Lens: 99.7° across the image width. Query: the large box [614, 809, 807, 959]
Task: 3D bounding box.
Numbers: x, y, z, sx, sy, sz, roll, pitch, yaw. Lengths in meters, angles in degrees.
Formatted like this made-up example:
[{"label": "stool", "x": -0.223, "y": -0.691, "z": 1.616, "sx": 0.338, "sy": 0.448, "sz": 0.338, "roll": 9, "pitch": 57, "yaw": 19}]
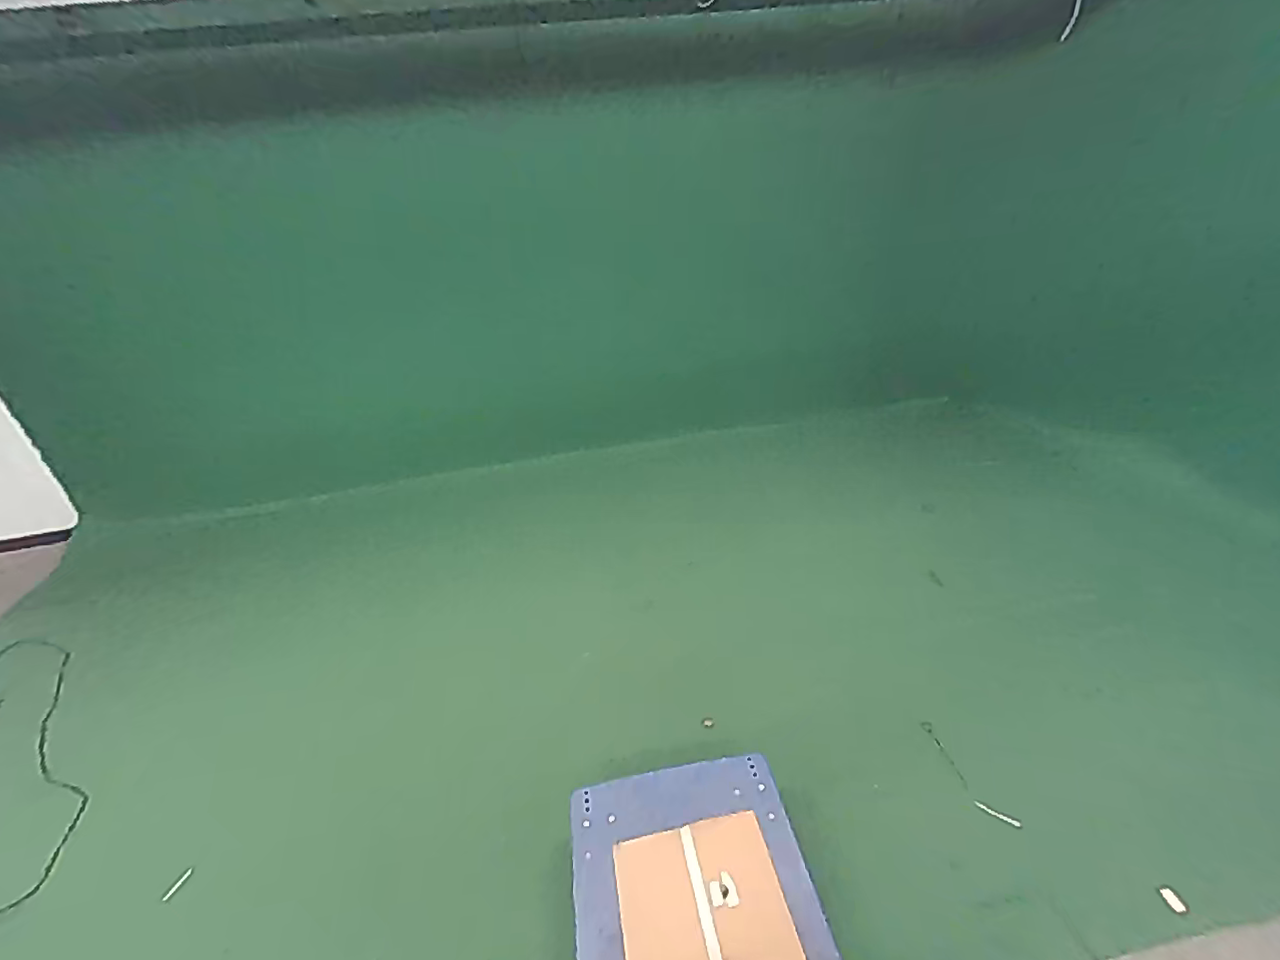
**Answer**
[{"label": "large box", "x": 0.147, "y": 0.965, "z": 1.063, "sx": 0.320, "sy": 0.320, "sz": 0.408, "roll": -10, "pitch": 29, "yaw": -6}]
